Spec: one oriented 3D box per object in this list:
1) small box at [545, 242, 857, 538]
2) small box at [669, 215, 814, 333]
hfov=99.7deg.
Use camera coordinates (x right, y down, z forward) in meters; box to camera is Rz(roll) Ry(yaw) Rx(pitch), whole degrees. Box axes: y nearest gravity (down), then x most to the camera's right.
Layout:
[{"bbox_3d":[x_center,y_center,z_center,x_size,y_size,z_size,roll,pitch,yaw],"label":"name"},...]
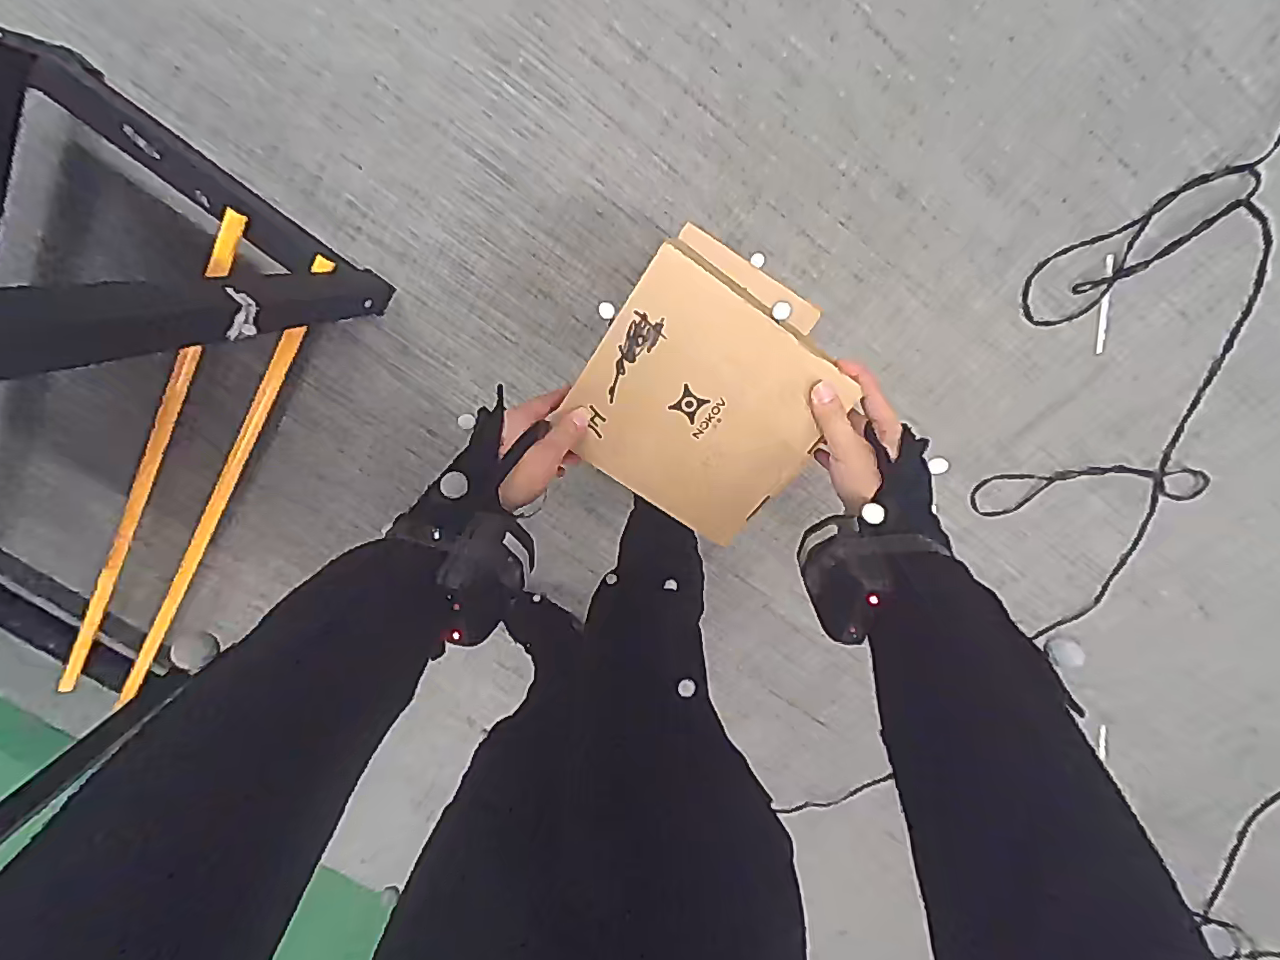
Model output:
[{"bbox_3d":[0.048,-0.089,0.473,0.179,0.176,0.168,33,112,-11],"label":"small box"},{"bbox_3d":[0.075,-0.182,0.643,0.168,0.176,0.179,32,111,-8],"label":"small box"}]
